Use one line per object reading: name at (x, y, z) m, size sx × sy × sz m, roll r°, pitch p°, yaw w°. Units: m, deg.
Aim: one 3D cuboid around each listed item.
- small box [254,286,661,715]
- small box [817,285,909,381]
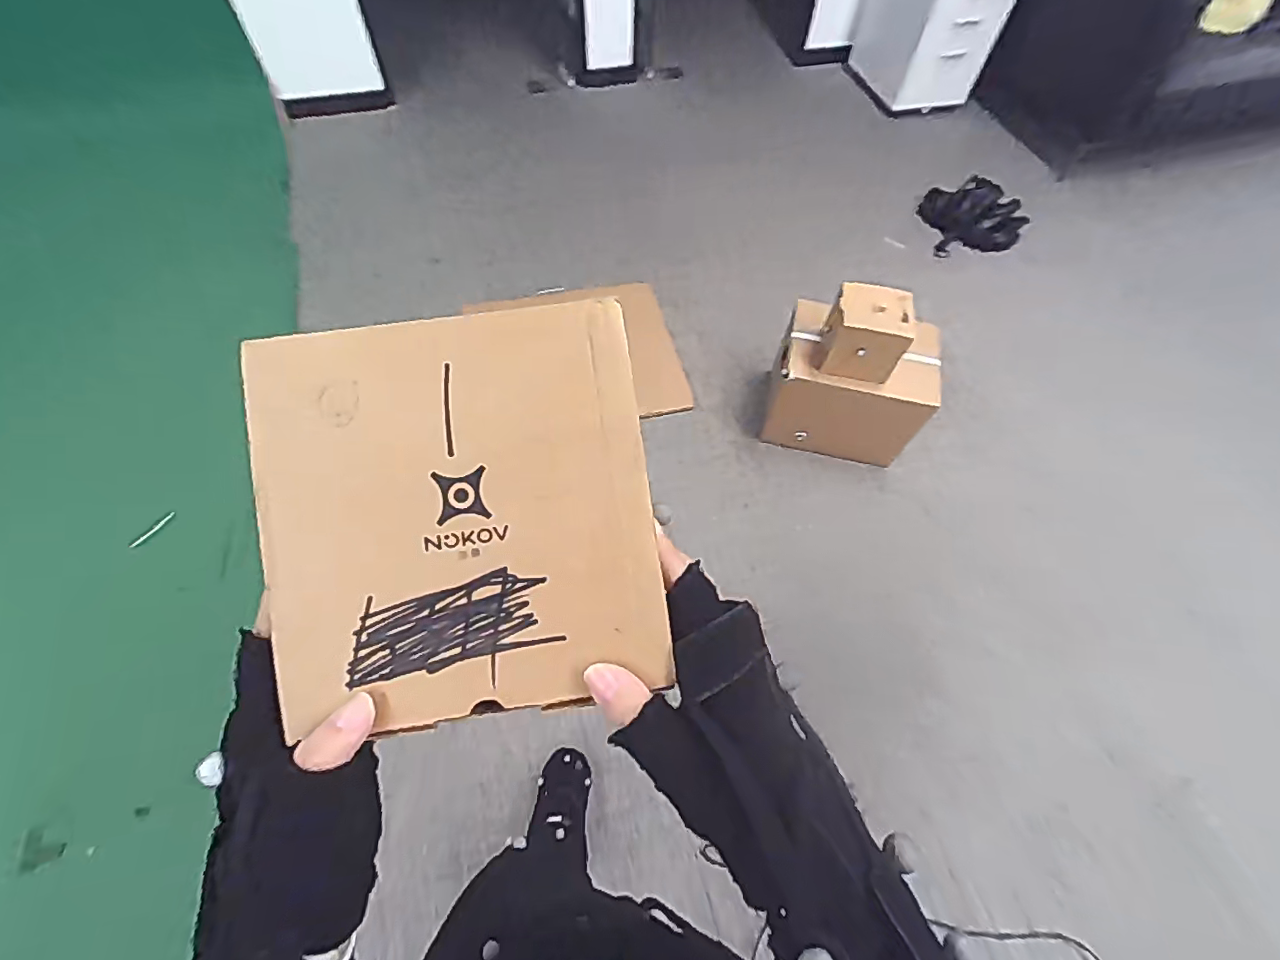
small box at (-0.083, 0.011, 0.321) m, size 0.168 × 0.176 × 0.179 m, roll -8°, pitch 86°, yaw -3°
small box at (0.569, -0.379, 1.409) m, size 0.179 × 0.176 × 0.168 m, roll 8°, pitch 58°, yaw 2°
